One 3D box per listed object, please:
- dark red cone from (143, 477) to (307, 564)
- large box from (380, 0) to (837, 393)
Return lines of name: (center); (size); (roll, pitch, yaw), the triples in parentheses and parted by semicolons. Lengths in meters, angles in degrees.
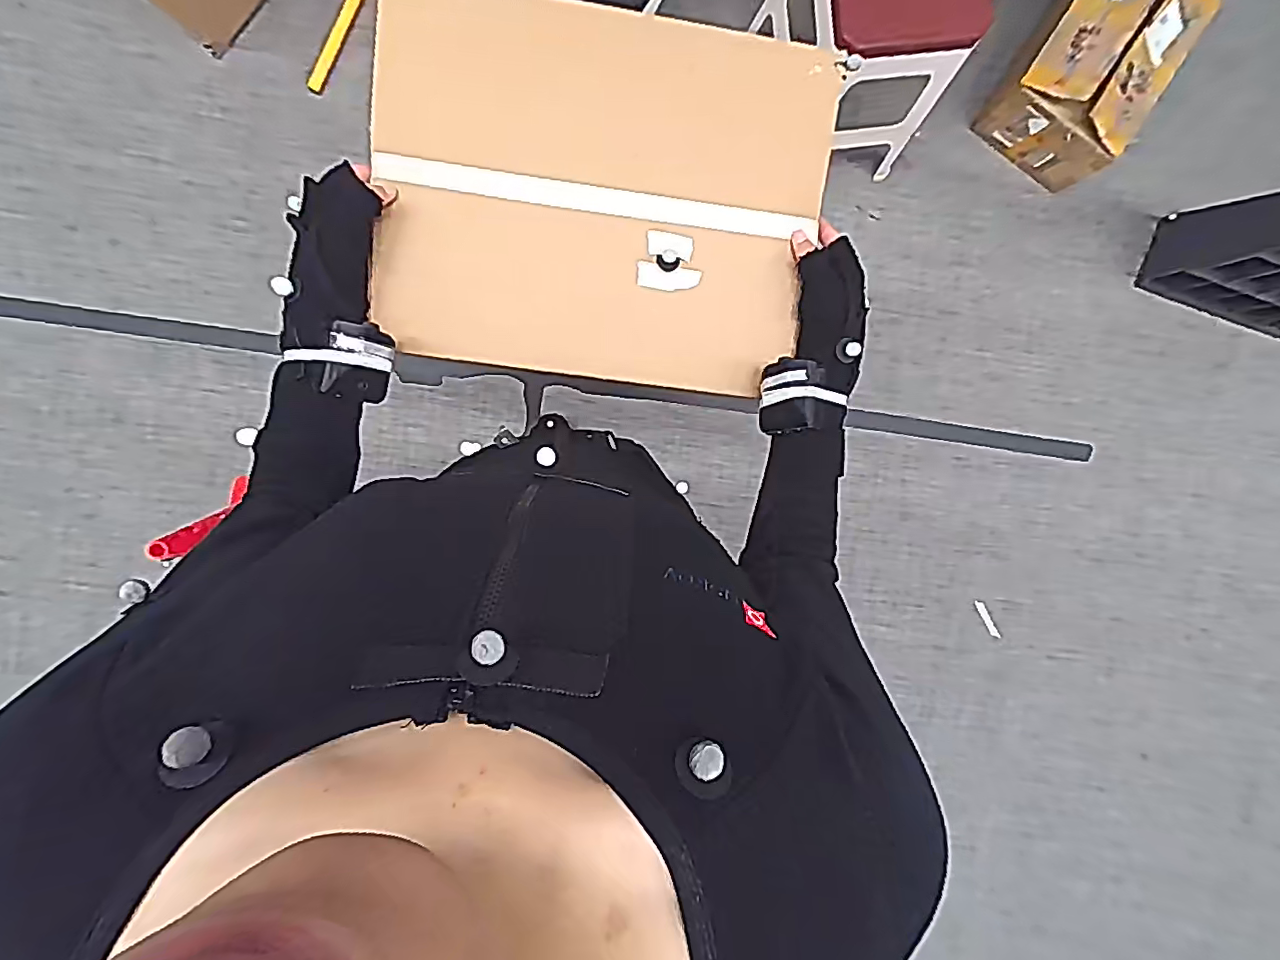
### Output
dark red cone: (-0.960, 0.118, 1.234); (0.201, 0.394, 0.202); (14, 95, -6)
large box: (-0.044, -0.279, 0.644); (0.408, 0.320, 0.320); (6, 99, -6)
